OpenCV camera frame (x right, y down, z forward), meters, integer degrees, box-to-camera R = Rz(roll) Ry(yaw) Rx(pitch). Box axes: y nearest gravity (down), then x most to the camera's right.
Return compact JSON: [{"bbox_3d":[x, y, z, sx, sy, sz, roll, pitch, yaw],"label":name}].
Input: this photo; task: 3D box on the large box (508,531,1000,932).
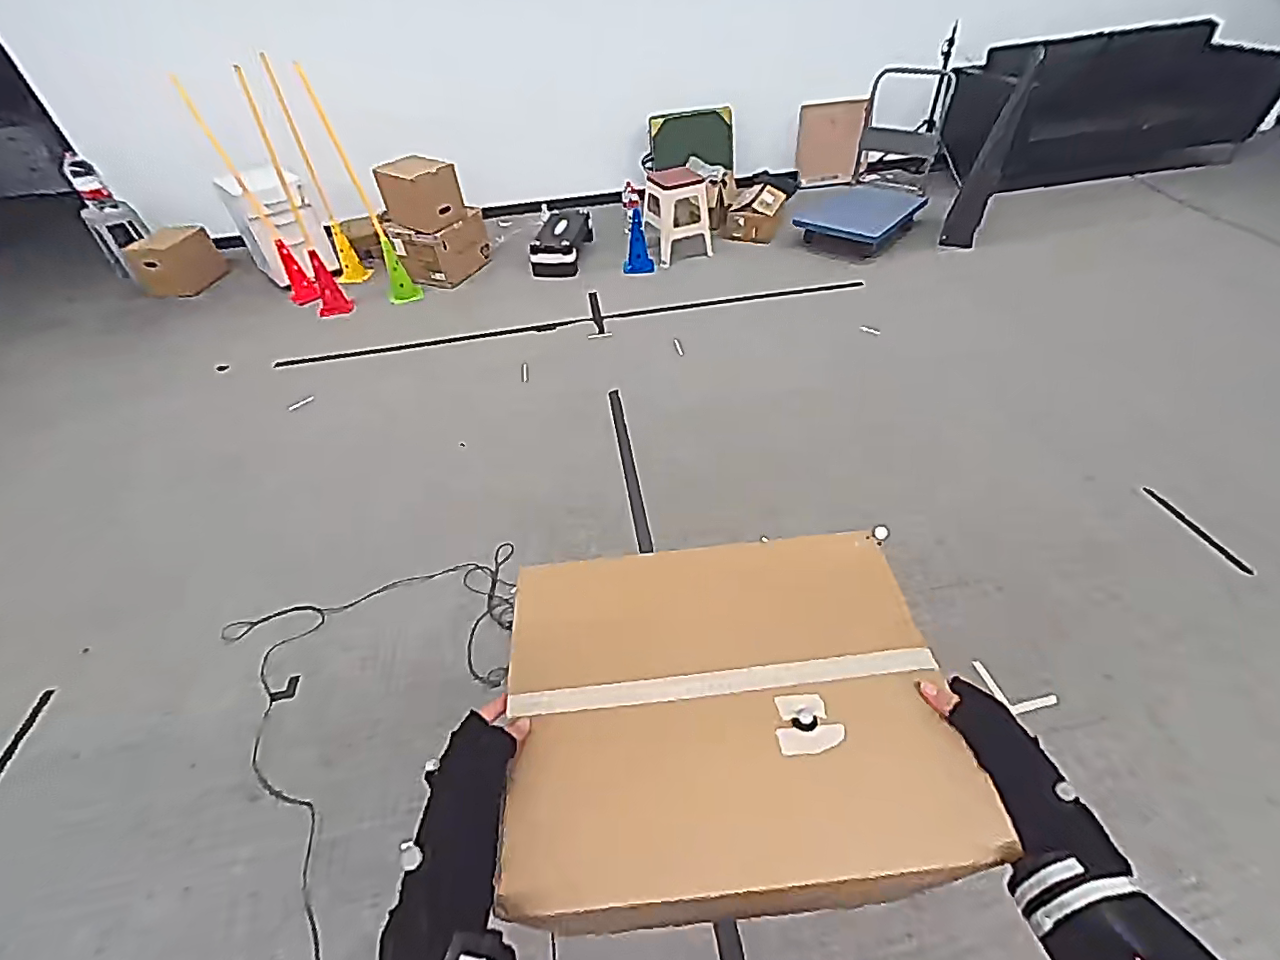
[{"bbox_3d":[0.085,0.295,0.632,0.408,0.320,0.320,-6,48,-1],"label":"large box"}]
